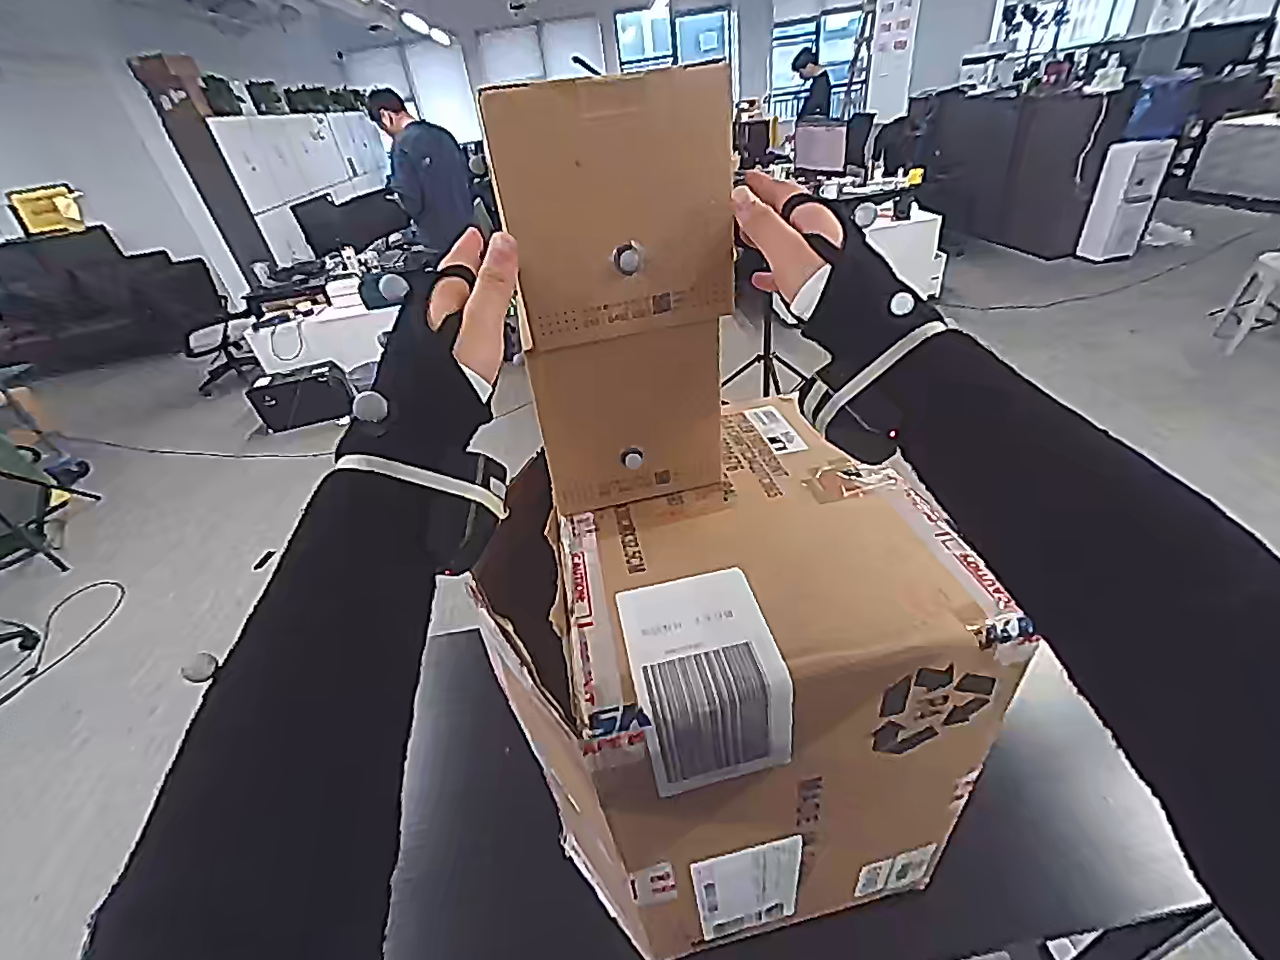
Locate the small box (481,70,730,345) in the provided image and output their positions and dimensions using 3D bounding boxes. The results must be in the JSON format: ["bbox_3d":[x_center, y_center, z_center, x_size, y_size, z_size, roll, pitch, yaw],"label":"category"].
[{"bbox_3d":[-0.031,-0.228,0.460,0.168,0.176,0.179,-13,34,-8],"label":"small box"}]

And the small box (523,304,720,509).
[{"bbox_3d":[-0.023,-0.094,0.557,0.168,0.176,0.179,-12,34,-7],"label":"small box"}]
